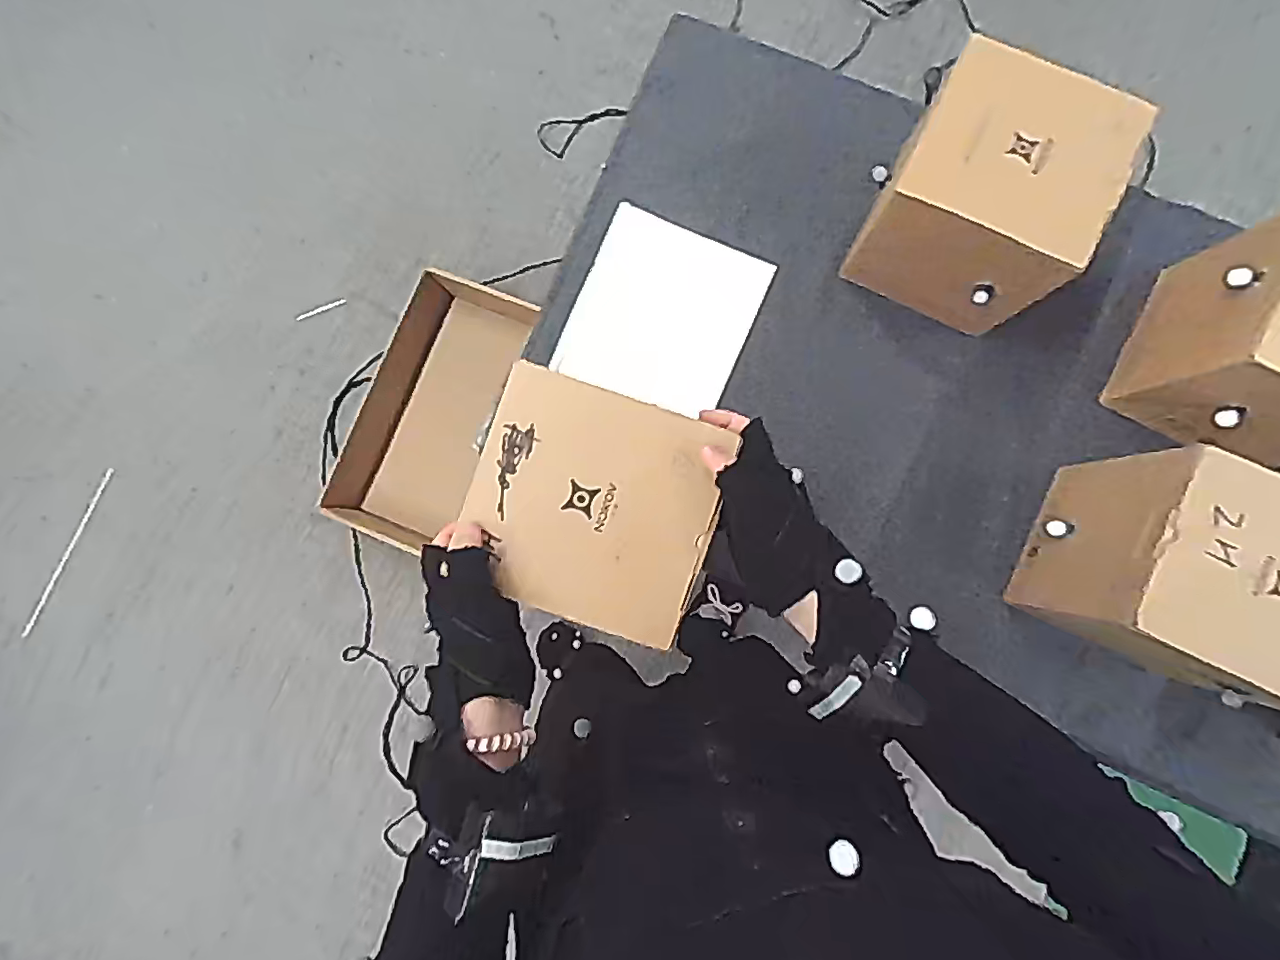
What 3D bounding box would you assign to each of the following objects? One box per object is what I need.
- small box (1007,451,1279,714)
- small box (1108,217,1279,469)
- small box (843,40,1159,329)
[{"bbox_3d":[0.503,0.092,0.507,0.179,0.176,0.168,26,85,6],"label":"small box"},{"bbox_3d":[0.619,-0.124,0.525,0.168,0.176,0.179,29,87,6],"label":"small box"},{"bbox_3d":[0.344,-0.278,0.553,0.179,0.176,0.168,28,87,5],"label":"small box"}]
